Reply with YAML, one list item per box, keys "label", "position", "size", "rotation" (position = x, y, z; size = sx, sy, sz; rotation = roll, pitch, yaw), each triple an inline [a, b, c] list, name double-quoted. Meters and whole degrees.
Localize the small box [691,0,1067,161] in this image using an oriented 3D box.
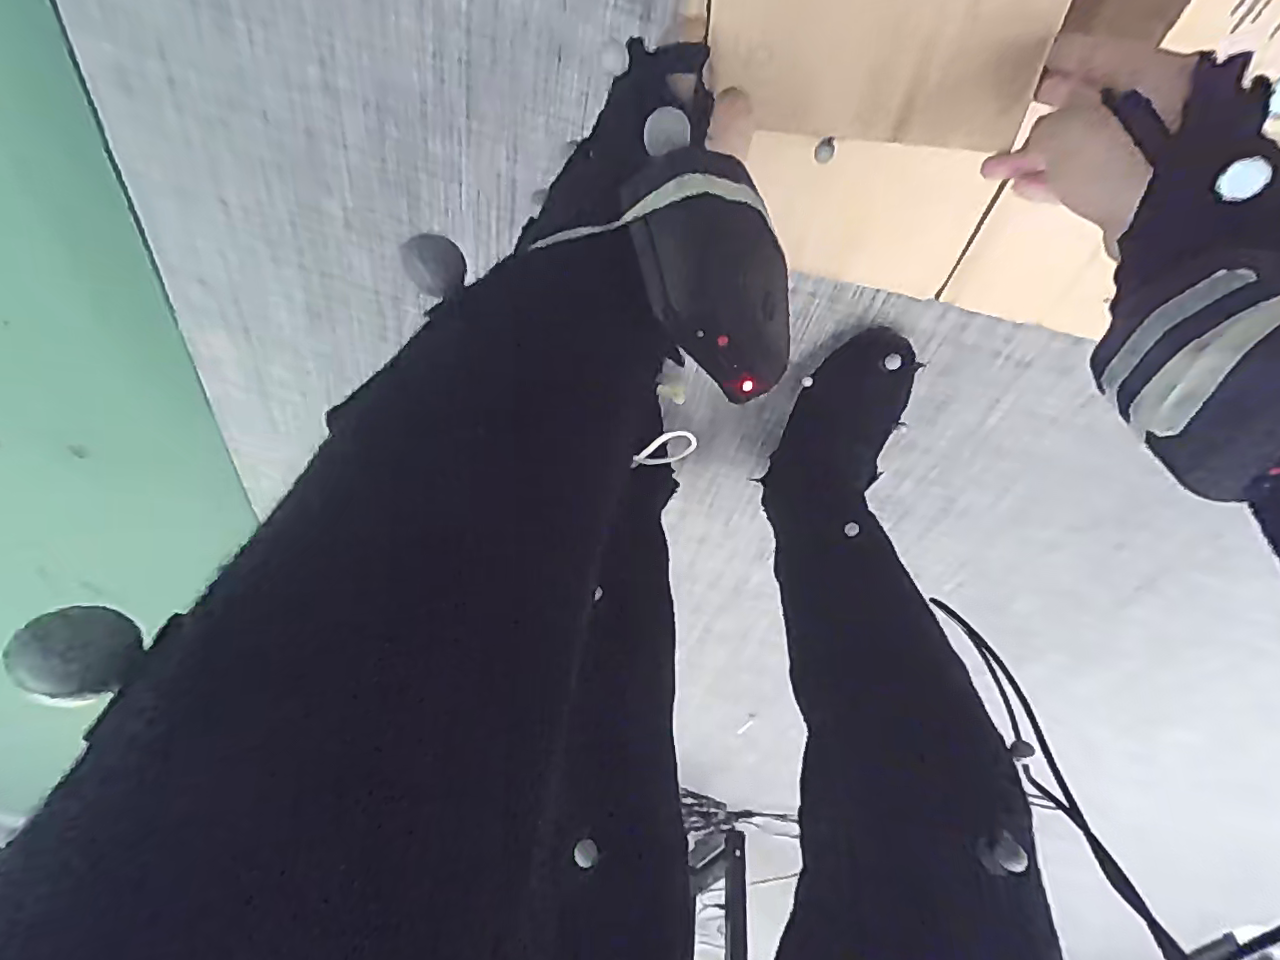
- label: "small box"
  position: [0.128, -0.295, 0.322]
  size: [0.179, 0.176, 0.168]
  rotation: [6, 125, 3]
